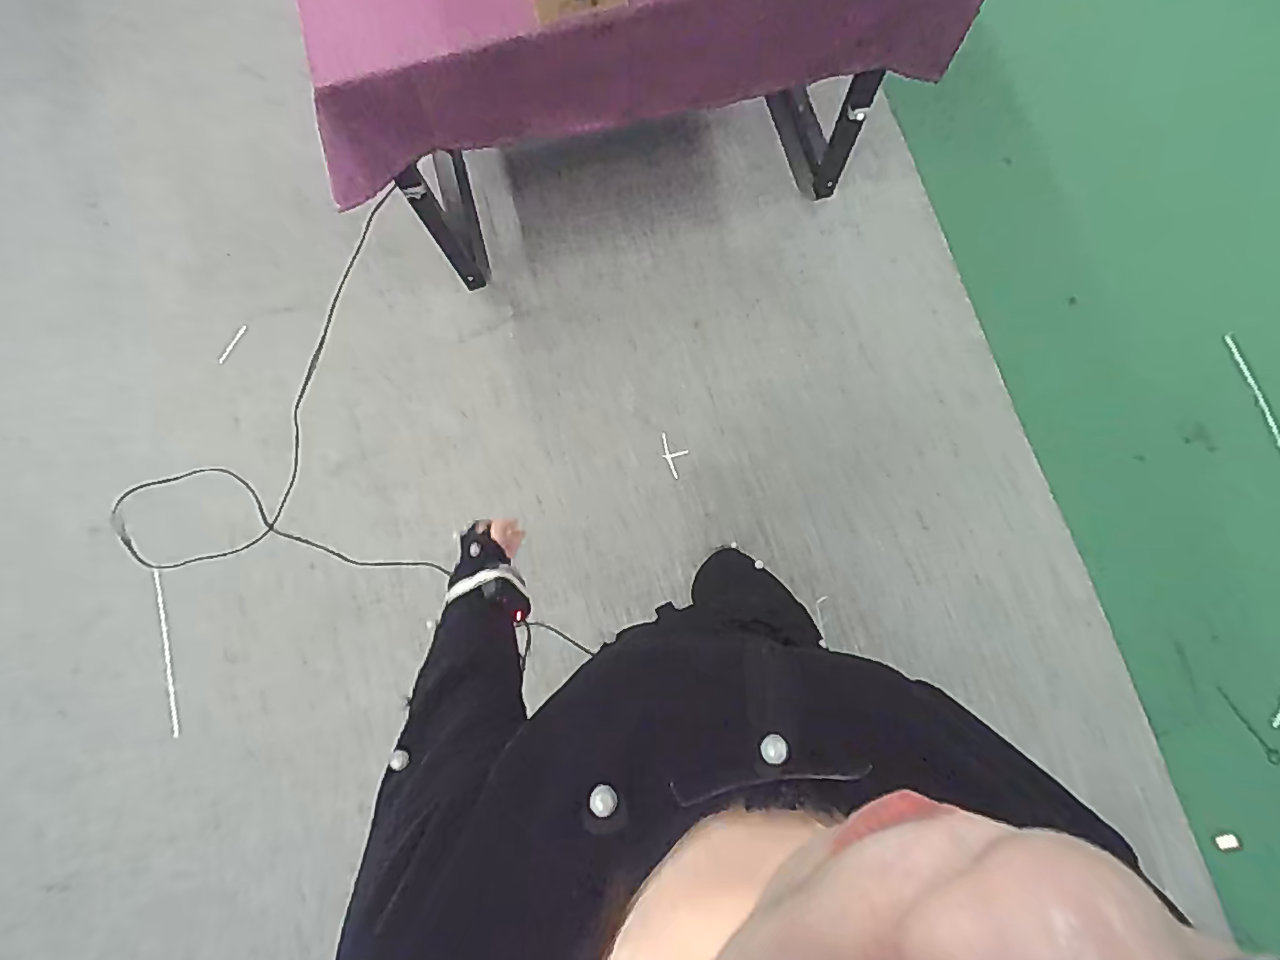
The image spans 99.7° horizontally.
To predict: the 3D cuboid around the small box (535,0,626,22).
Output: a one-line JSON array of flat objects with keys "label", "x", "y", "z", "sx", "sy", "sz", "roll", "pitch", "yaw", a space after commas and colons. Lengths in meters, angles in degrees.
[{"label": "small box", "x": -0.121, "y": -0.928, "z": 0.902, "sx": 0.168, "sy": 0.176, "sz": 0.179, "roll": -13, "pitch": 80, "yaw": 1}]
